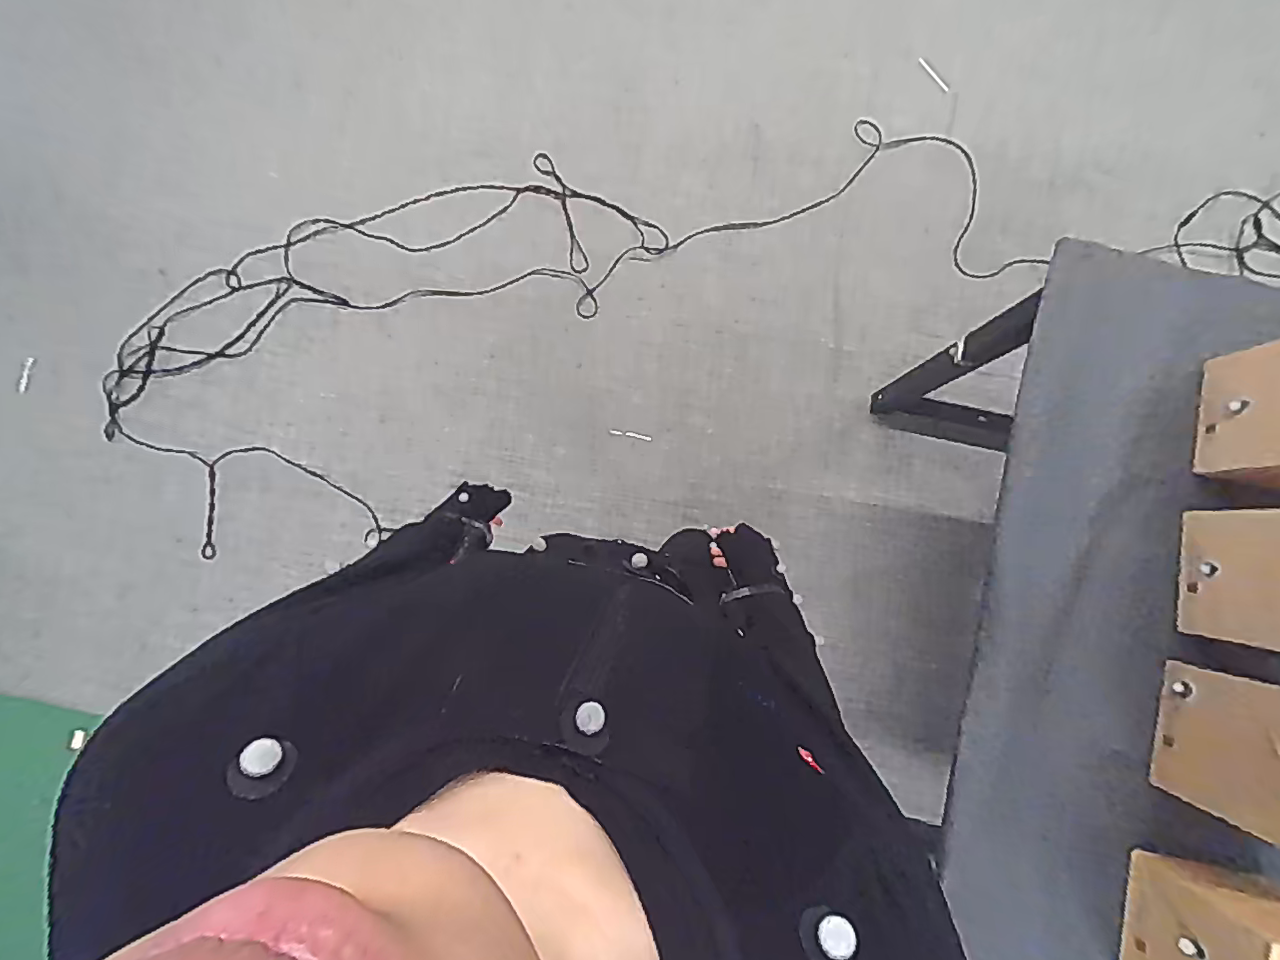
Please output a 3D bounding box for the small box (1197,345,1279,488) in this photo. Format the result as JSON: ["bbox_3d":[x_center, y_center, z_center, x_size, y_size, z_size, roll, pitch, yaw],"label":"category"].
[{"bbox_3d":[0.870,-0.080,0.671,0.179,0.176,0.168,11,86,2],"label":"small box"}]

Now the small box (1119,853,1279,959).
[{"bbox_3d":[0.709,0.571,0.621,0.179,0.176,0.168,12,85,2],"label":"small box"}]
